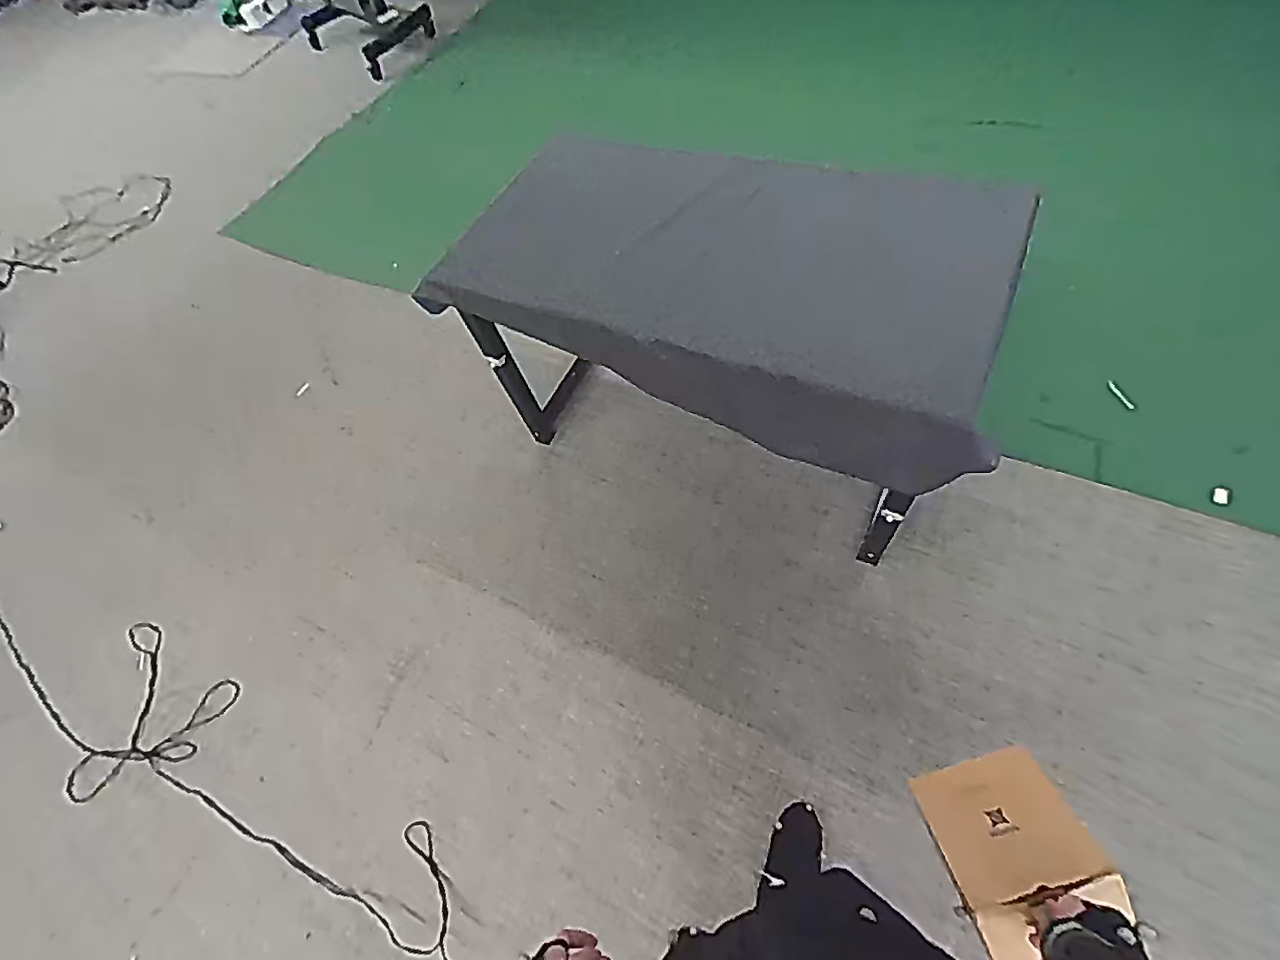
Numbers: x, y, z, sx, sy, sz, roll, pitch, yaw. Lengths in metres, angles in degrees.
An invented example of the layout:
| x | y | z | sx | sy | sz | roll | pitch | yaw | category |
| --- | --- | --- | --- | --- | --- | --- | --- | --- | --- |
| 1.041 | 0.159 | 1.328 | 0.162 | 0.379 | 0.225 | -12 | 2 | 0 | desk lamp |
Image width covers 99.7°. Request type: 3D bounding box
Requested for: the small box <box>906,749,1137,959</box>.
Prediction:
| x | y | z | sx | sy | sz | roll | pitch | yaw | category |
| --- | --- | --- | --- | --- | --- | --- | --- | --- | --- |
| 0.485 | 0.500 | 0.701 | 0.168 | 0.176 | 0.179 | -24 | 17 | 9 | small box |
